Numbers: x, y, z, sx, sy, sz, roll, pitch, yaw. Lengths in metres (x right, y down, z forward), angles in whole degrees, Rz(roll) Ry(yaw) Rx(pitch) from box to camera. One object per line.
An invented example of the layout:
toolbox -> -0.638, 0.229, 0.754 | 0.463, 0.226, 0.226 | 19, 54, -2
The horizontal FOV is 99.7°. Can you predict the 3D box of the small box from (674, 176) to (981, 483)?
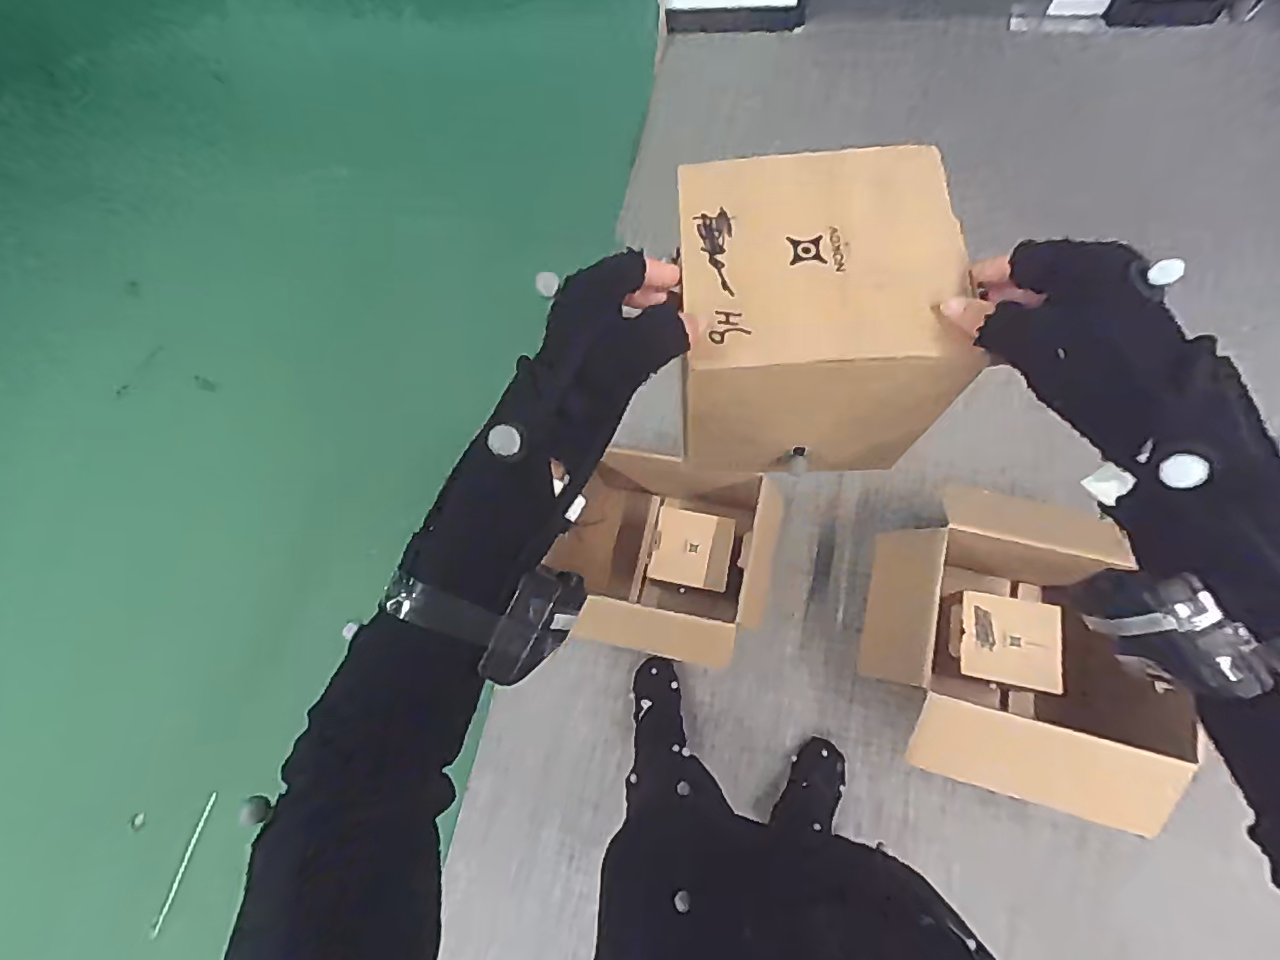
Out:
small box -> 0.118, -0.103, 0.424 | 0.179, 0.176, 0.168 | -2, 68, 2
